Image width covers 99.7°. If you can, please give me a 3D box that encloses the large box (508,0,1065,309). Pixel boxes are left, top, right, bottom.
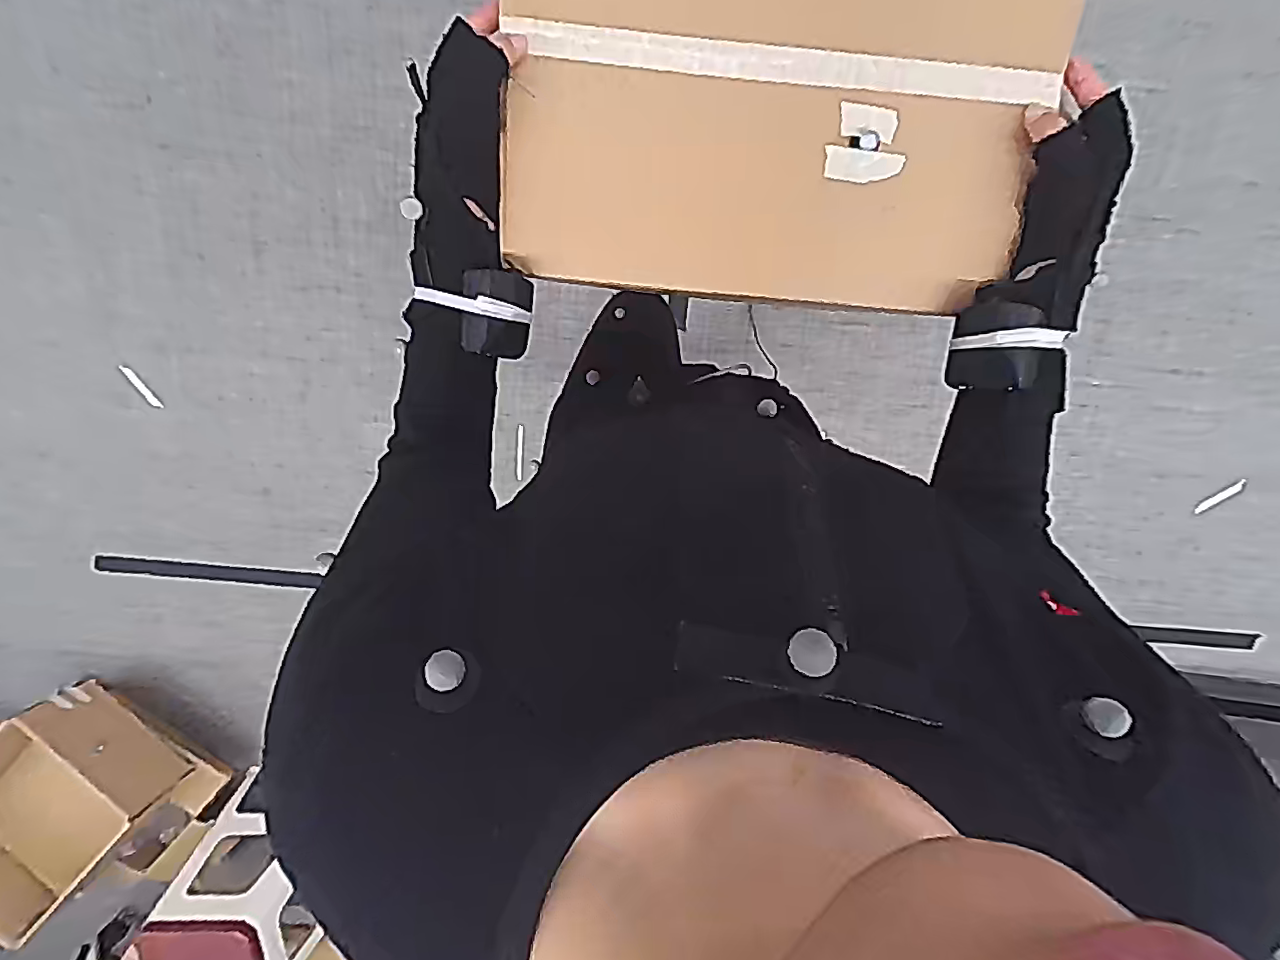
[{"bbox_3d":[0.097,-0.348,0.541,0.408,0.320,0.320,4,110,-3],"label":"large box"}]
